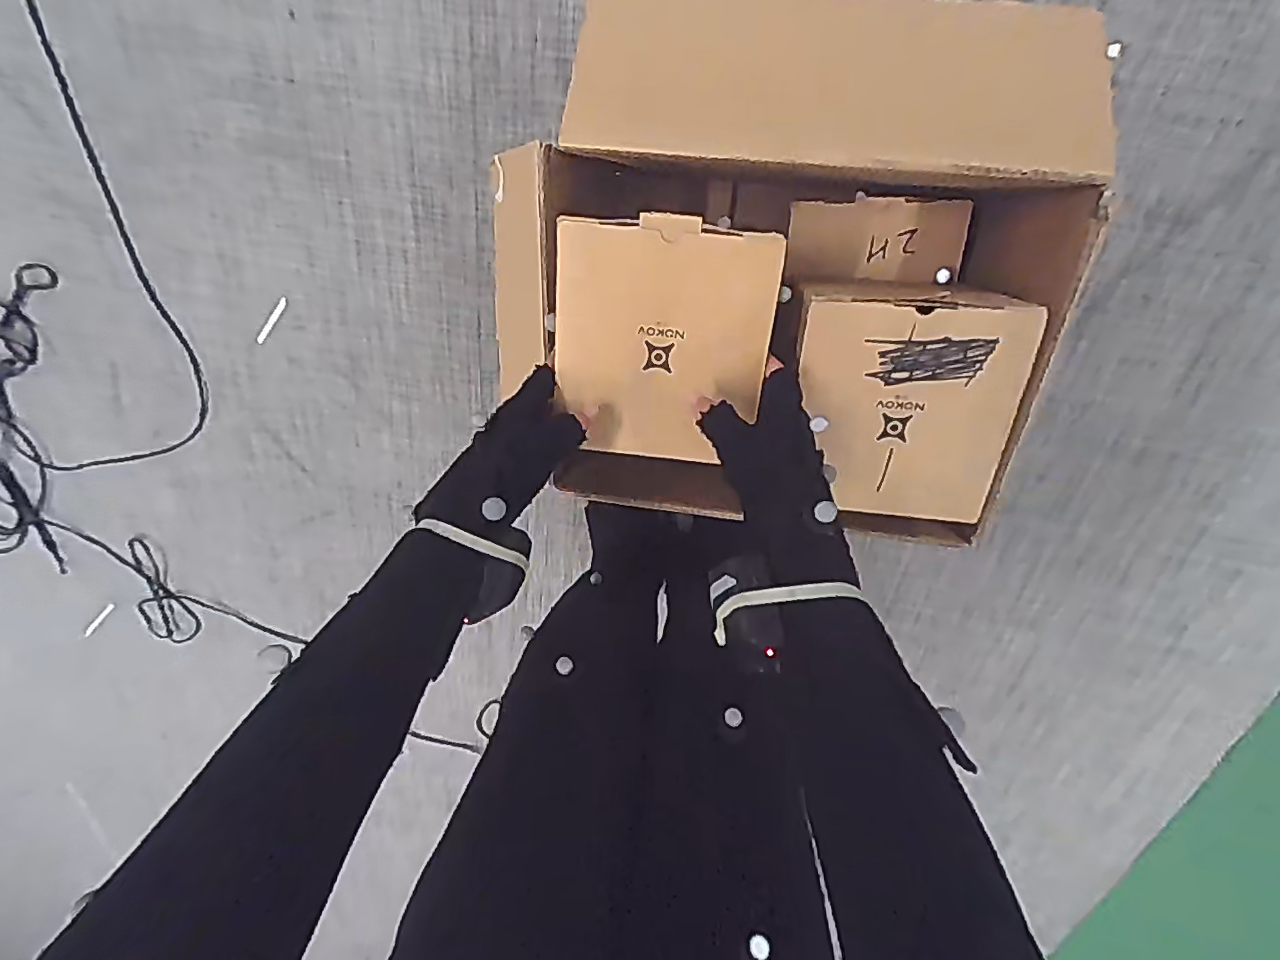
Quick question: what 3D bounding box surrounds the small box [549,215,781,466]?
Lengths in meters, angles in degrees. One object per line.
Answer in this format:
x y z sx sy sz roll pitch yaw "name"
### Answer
0.021 -0.129 0.486 0.168 0.176 0.179 6 112 4 "small box"
